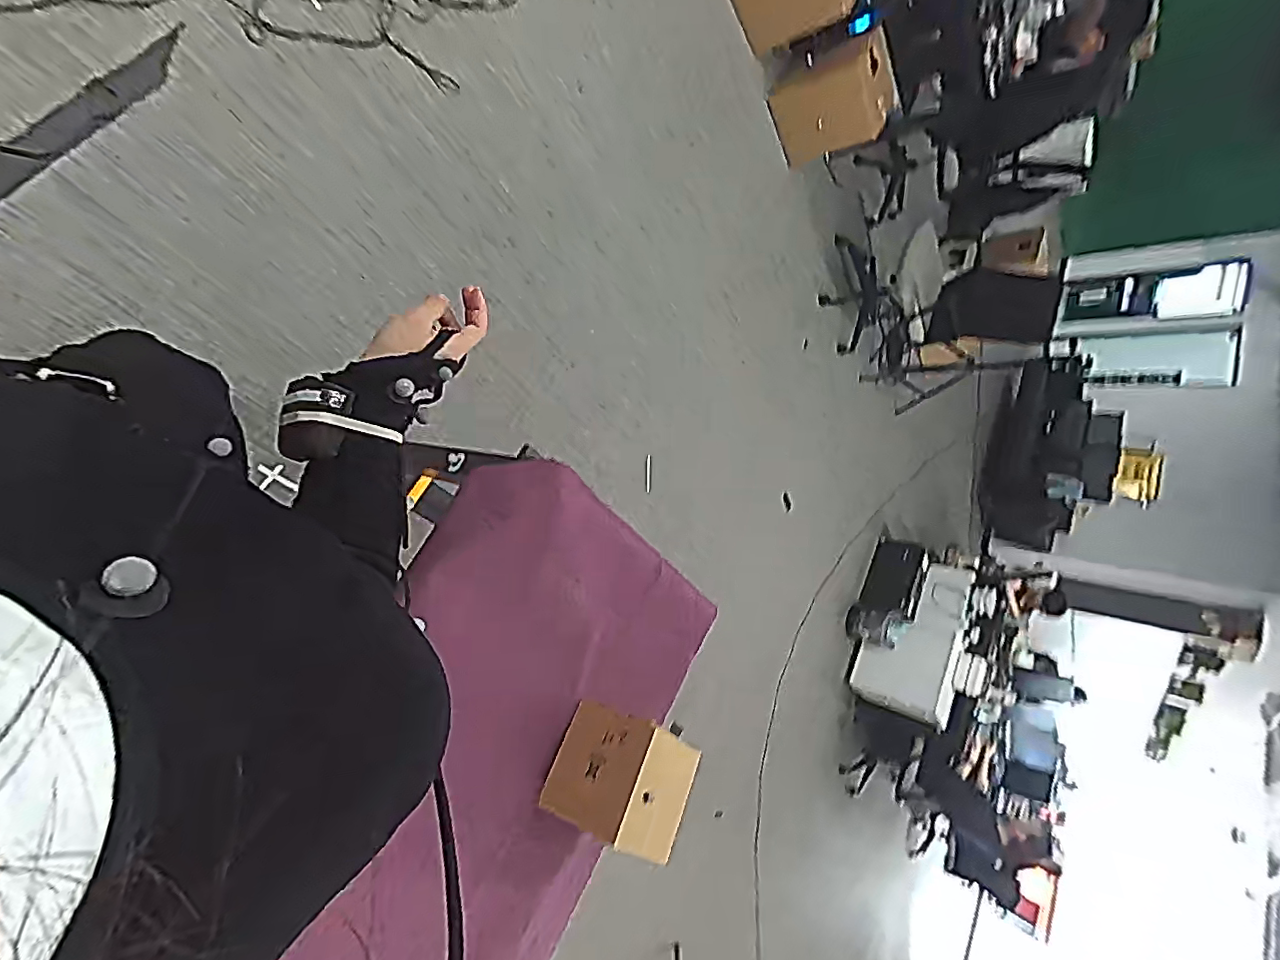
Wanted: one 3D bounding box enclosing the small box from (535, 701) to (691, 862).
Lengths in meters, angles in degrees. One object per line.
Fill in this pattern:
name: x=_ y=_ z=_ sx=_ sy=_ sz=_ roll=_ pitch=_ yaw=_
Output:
small box: x=-0.035 y=0.505 z=0.908 sx=0.176 sy=0.168 sz=0.179 roll=52 pitch=53 yaw=-40
